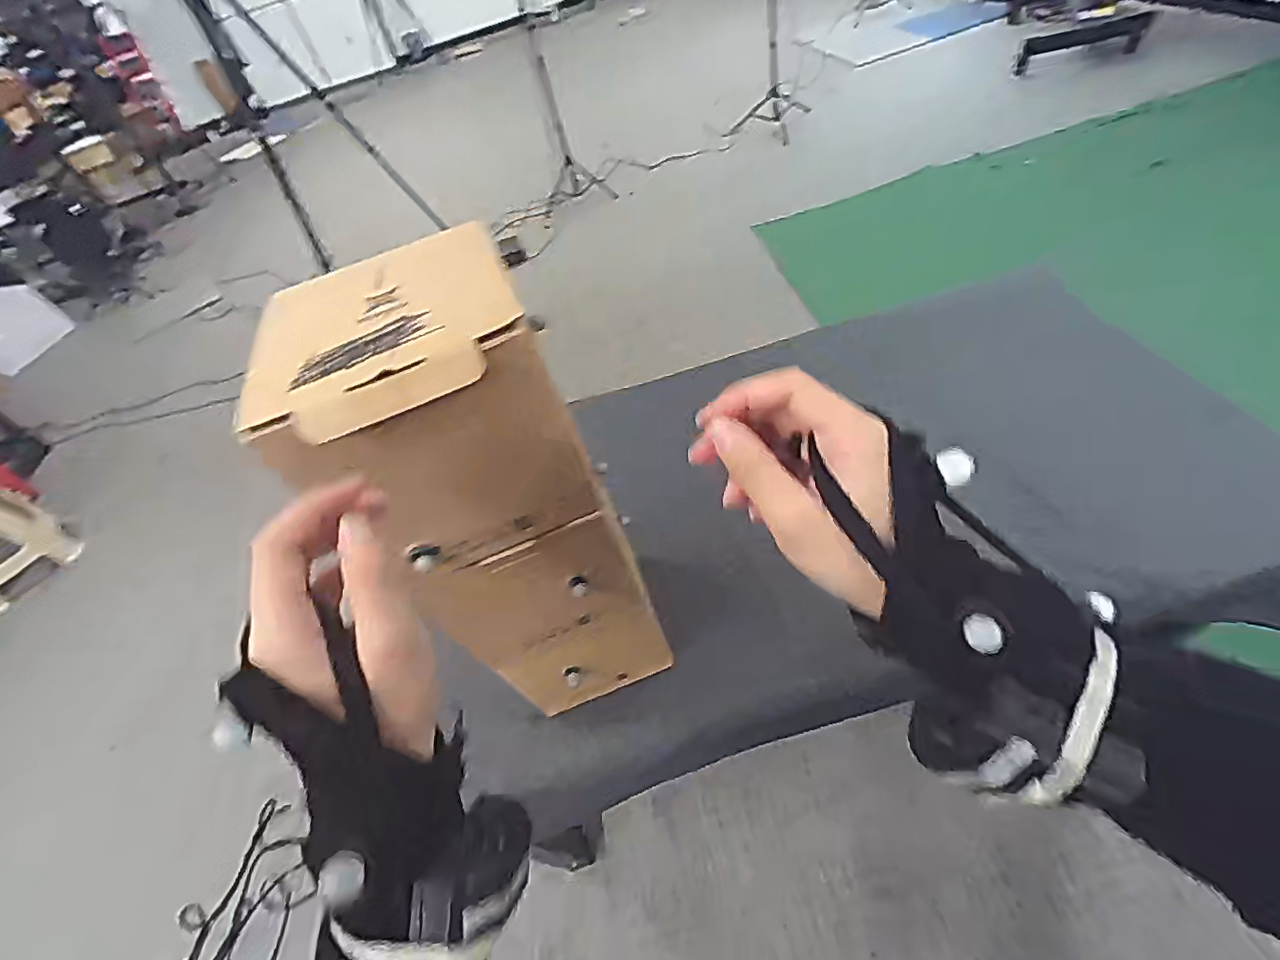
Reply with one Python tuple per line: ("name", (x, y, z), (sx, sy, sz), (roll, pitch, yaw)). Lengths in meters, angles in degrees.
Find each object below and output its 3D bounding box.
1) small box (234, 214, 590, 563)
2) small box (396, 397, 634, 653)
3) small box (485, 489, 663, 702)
("small box", (-0.150, -0.061, 0.403), (0.168, 0.176, 0.179), (-22, 48, -6))
("small box", (-0.117, 0.045, 0.525), (0.168, 0.176, 0.179), (-21, 47, -5))
("small box", (-0.083, 0.145, 0.649), (0.168, 0.176, 0.179), (-21, 48, -3))
